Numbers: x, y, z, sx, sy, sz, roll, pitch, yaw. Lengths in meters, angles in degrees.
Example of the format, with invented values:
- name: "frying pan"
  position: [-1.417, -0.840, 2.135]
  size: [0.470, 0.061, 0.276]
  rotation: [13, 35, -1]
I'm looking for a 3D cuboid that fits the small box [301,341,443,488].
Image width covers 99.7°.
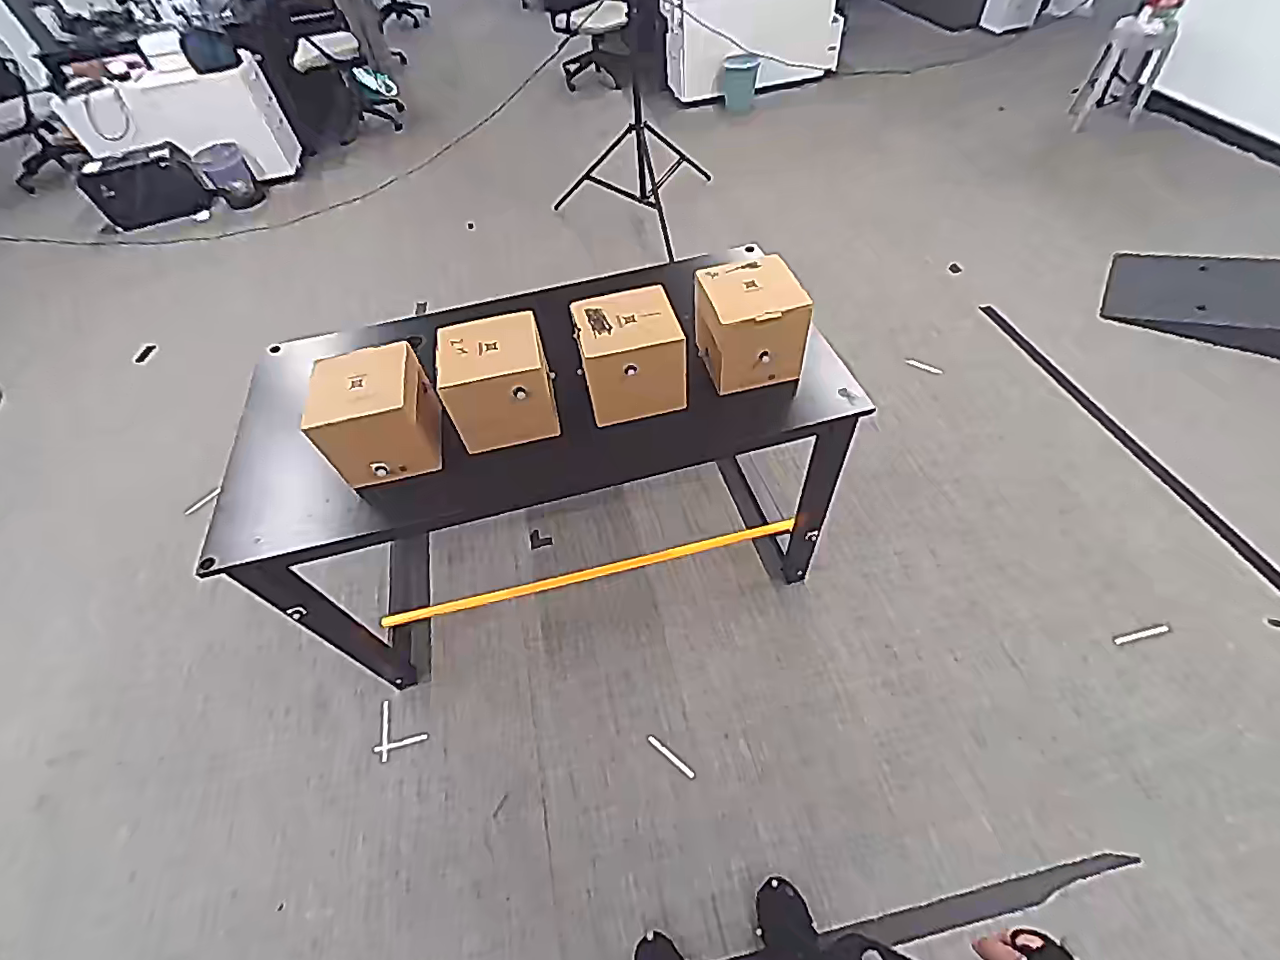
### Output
- name: "small box"
  position: [-0.465, -0.114, 0.965]
  size: [0.168, 0.176, 0.179]
  rotation: [-15, 54, -4]

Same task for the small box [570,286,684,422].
- name: "small box"
  position: [-0.020, -0.228, 1.003]
  size: [0.179, 0.176, 0.168]
  rotation: [-13, 53, -5]

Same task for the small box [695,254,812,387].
- name: "small box"
  position: [0.206, -0.294, 1.028]
  size: [0.168, 0.176, 0.179]
  rotation: [-12, 53, -4]
